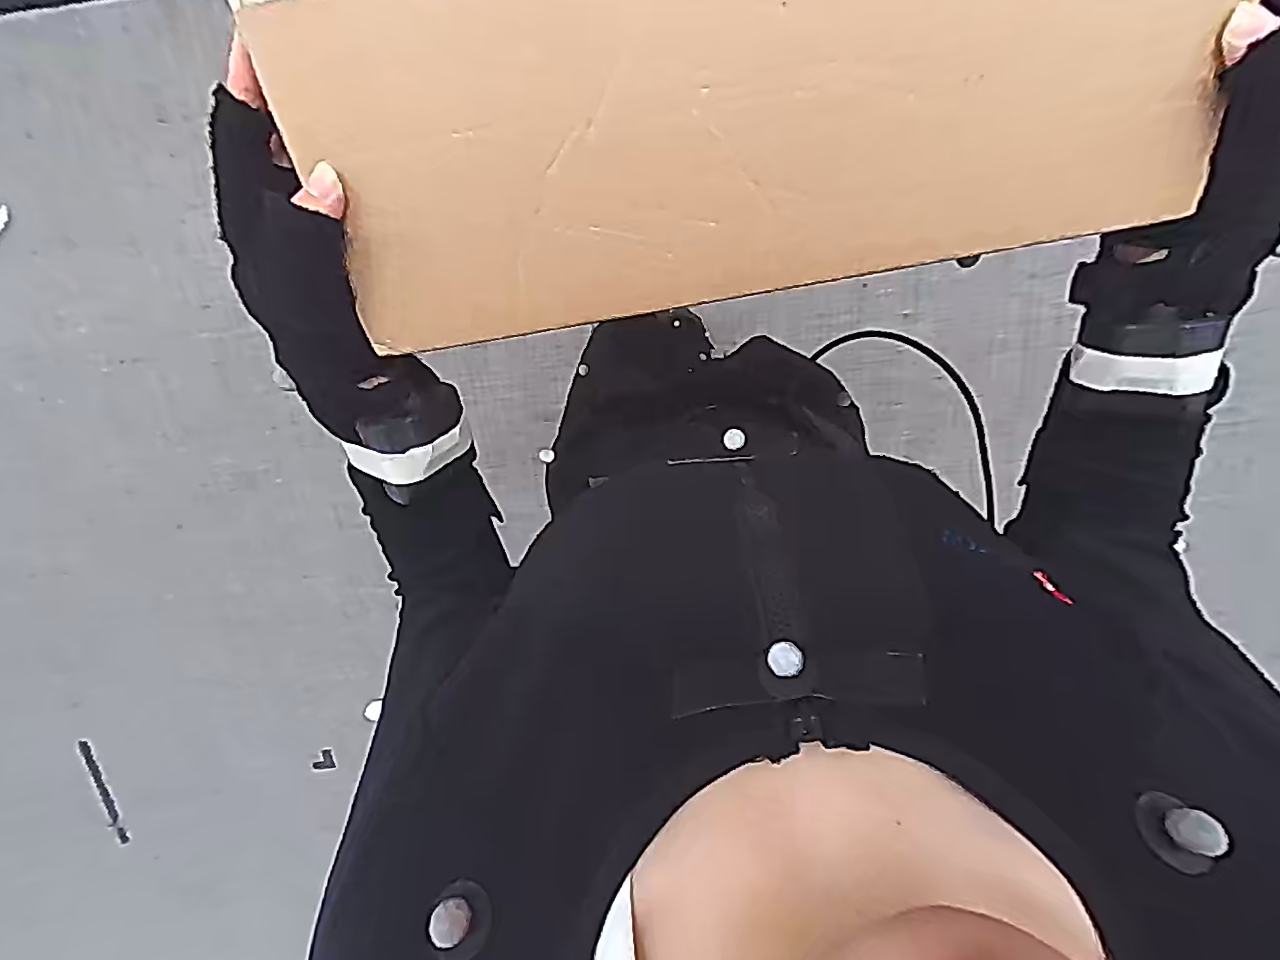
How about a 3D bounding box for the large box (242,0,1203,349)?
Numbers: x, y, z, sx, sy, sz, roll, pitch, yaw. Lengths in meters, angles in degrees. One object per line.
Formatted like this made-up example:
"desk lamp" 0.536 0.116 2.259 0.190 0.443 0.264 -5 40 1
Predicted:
"large box" 0.029 -0.307 0.336 0.408 0.320 0.320 -9 118 5
